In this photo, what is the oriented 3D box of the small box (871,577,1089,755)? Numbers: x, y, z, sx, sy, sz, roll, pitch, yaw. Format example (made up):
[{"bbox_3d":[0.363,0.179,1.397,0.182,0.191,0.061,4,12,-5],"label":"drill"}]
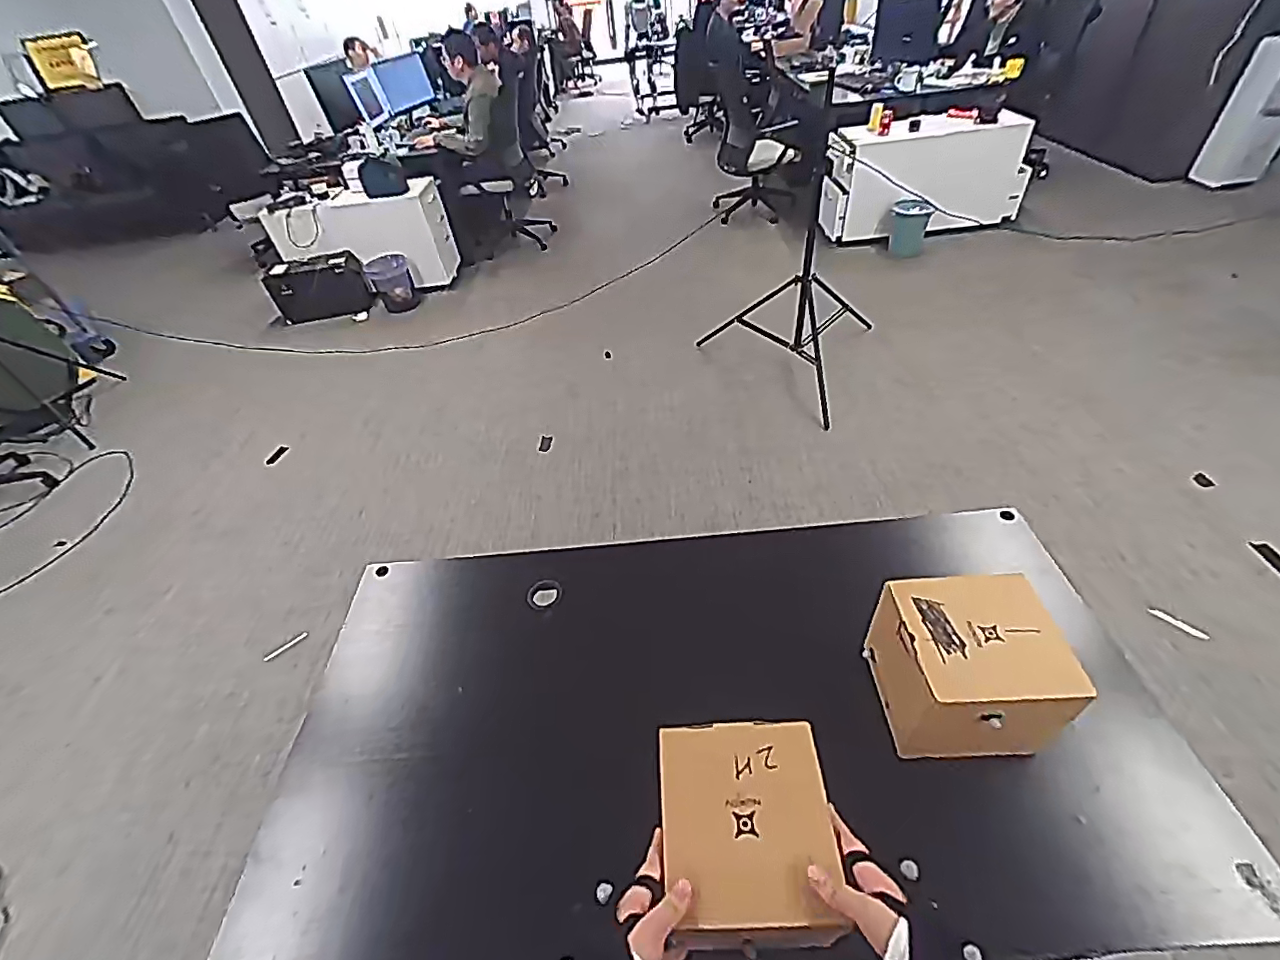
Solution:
[{"bbox_3d":[0.419,0.247,0.711,0.179,0.176,0.168,-4,44,4],"label":"small box"}]

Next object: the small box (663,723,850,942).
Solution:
[{"bbox_3d":[0.114,0.389,0.595,0.168,0.176,0.179,-4,44,3],"label":"small box"}]
